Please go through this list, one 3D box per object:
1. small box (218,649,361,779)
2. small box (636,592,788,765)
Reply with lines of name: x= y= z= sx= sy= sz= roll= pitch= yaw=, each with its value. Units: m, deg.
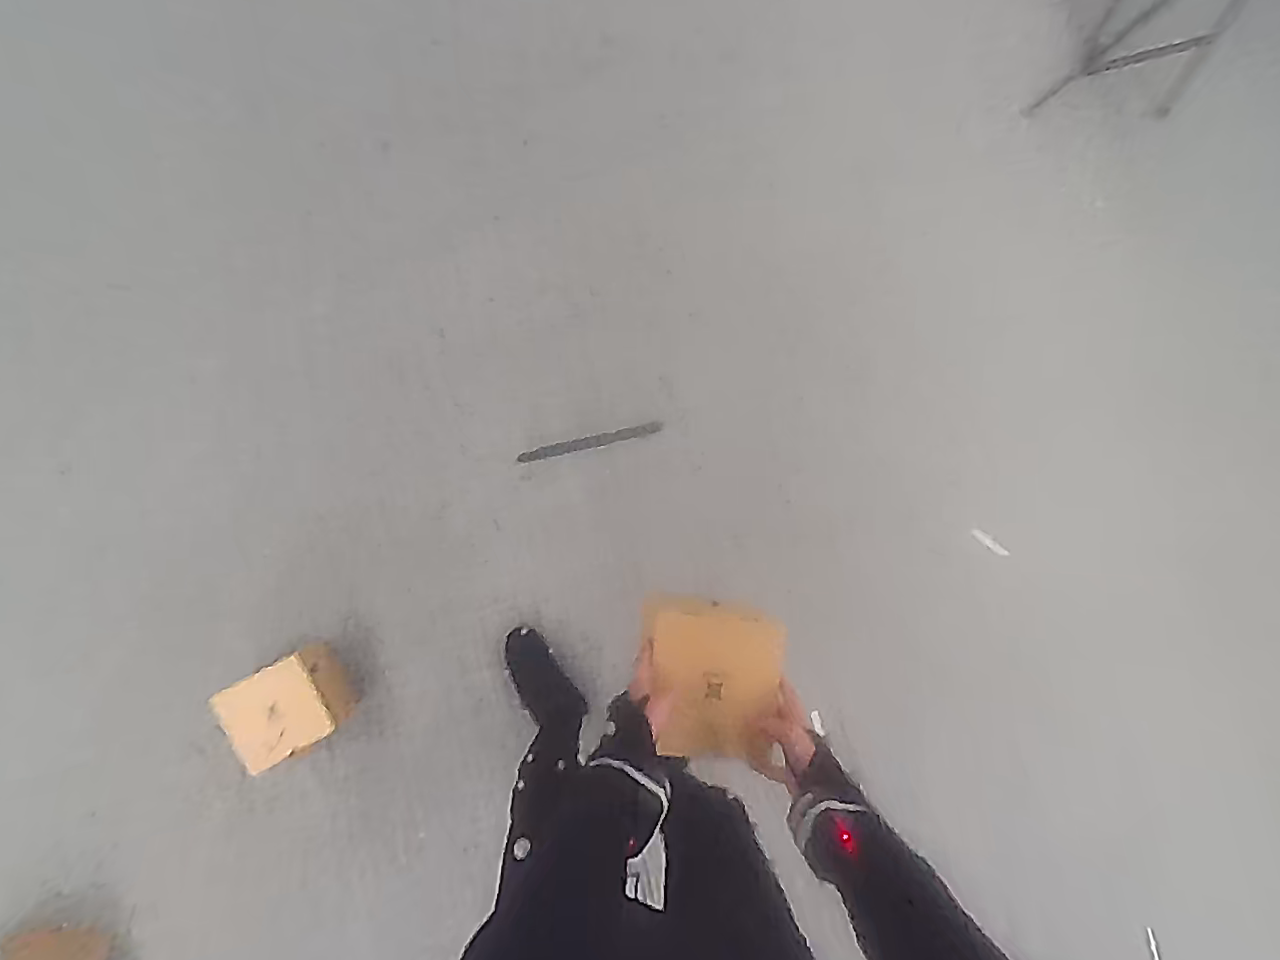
small box: x=-0.719 y=0.473 z=1.132 sx=0.168 sy=0.176 sz=0.179 roll=-28 pitch=91 yaw=-13
small box: x=0.088 y=0.260 z=0.744 sx=0.168 sy=0.176 sz=0.179 roll=7 pitch=84 yaw=-4
